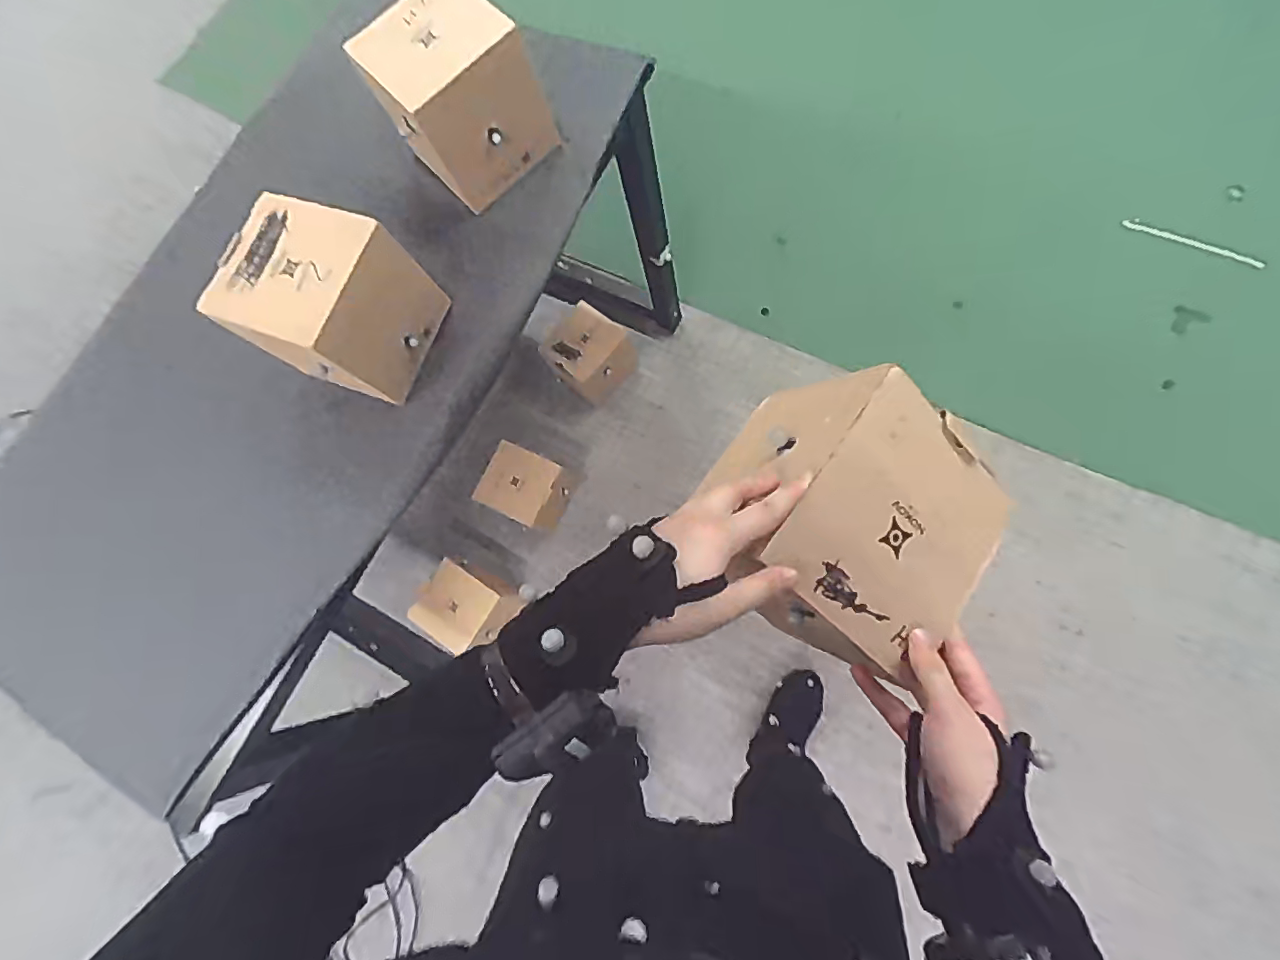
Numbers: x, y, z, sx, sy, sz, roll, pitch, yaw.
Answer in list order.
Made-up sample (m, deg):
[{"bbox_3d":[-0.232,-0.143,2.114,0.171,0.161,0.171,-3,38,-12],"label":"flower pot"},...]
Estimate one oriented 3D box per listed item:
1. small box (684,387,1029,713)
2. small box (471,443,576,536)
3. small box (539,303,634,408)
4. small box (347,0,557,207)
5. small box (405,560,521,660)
[{"bbox_3d":[0.167,0.047,0.457,0.168,0.176,0.179,42,79,-15],"label":"small box"},{"bbox_3d":[-0.284,0.031,1.367,0.179,0.176,0.168,24,81,15],"label":"small box"},{"bbox_3d":[-0.132,-0.321,1.428,0.168,0.176,0.179,40,83,15],"label":"small box"},{"bbox_3d":[-0.239,-0.508,0.729,0.168,0.176,0.179,-41,71,-2],"label":"small box"},{"bbox_3d":[-0.423,0.314,1.322,0.179,0.176,0.168,31,83,15],"label":"small box"}]
